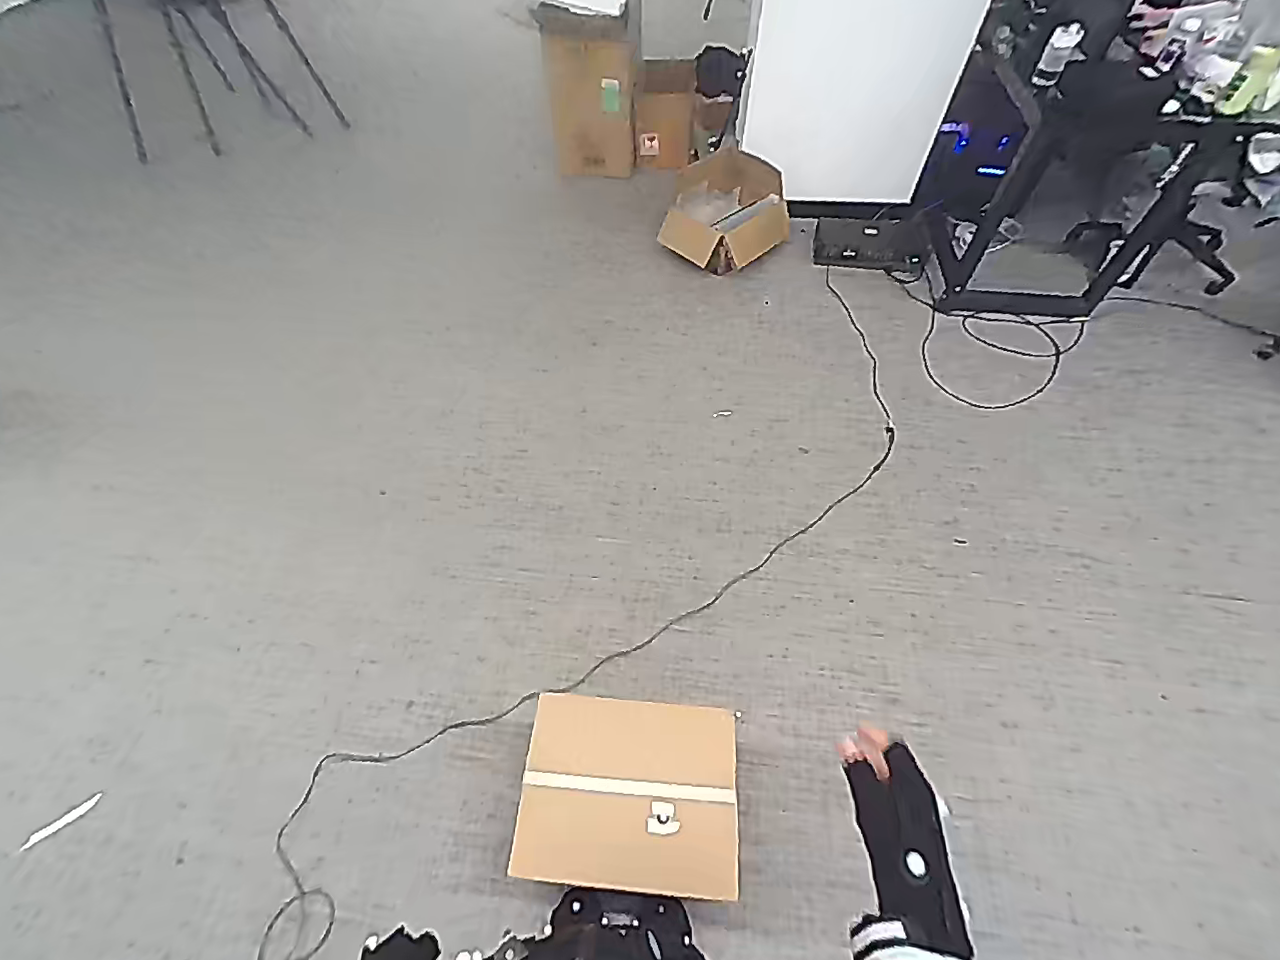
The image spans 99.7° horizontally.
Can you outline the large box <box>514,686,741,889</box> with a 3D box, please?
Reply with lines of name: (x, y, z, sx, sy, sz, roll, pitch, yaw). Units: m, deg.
large box: (-0.014, 0.647, 1.138, 0.408, 0.320, 0.320, 4, 56, 3)
